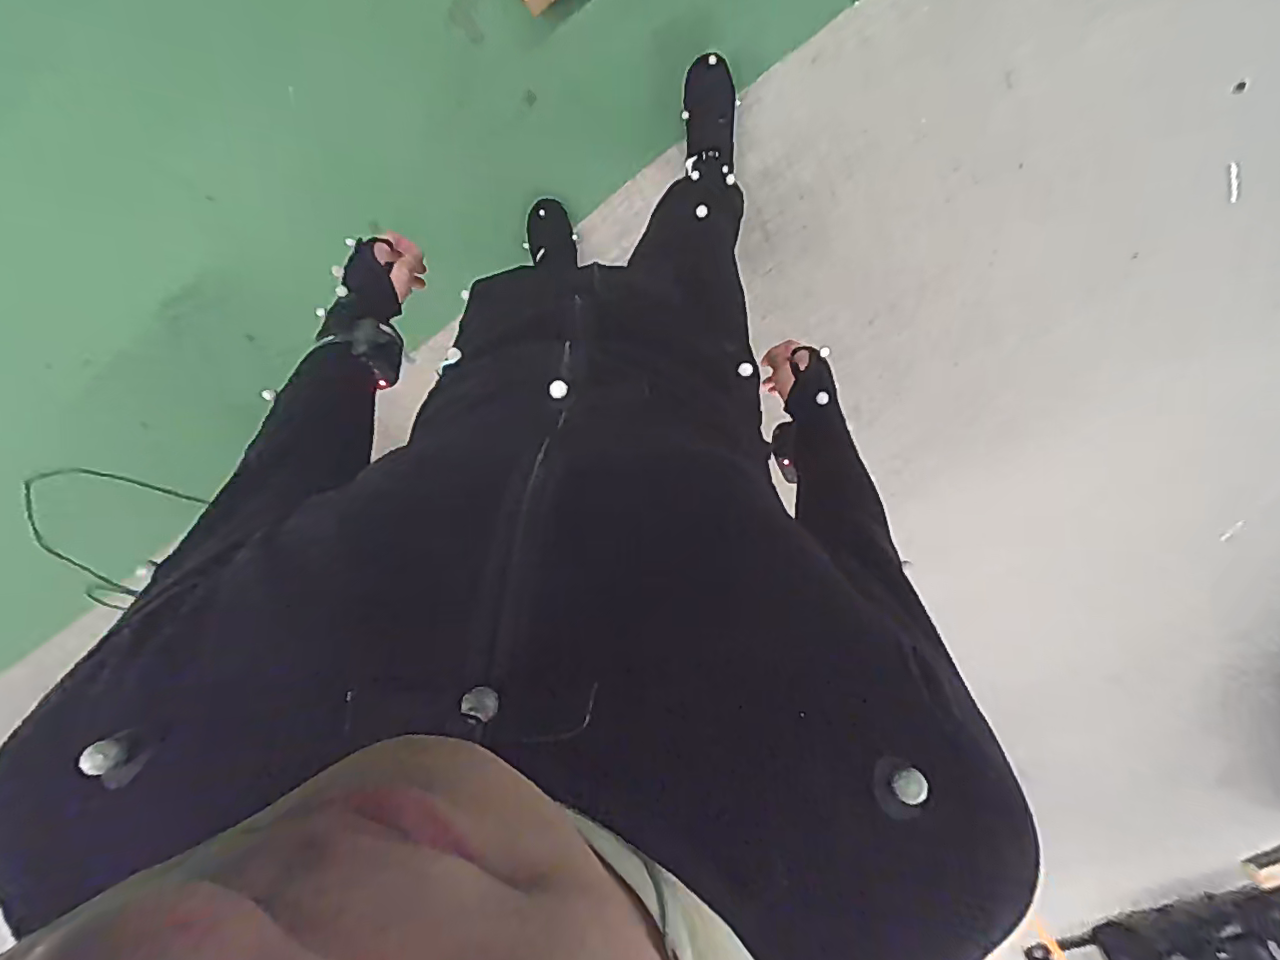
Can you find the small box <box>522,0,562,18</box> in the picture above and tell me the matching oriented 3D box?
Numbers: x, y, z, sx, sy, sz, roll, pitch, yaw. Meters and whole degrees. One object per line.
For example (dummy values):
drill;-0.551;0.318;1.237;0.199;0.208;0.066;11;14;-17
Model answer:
small box;-0.193;-1.023;1.014;0.168;0.176;0.179;-30;121;15
